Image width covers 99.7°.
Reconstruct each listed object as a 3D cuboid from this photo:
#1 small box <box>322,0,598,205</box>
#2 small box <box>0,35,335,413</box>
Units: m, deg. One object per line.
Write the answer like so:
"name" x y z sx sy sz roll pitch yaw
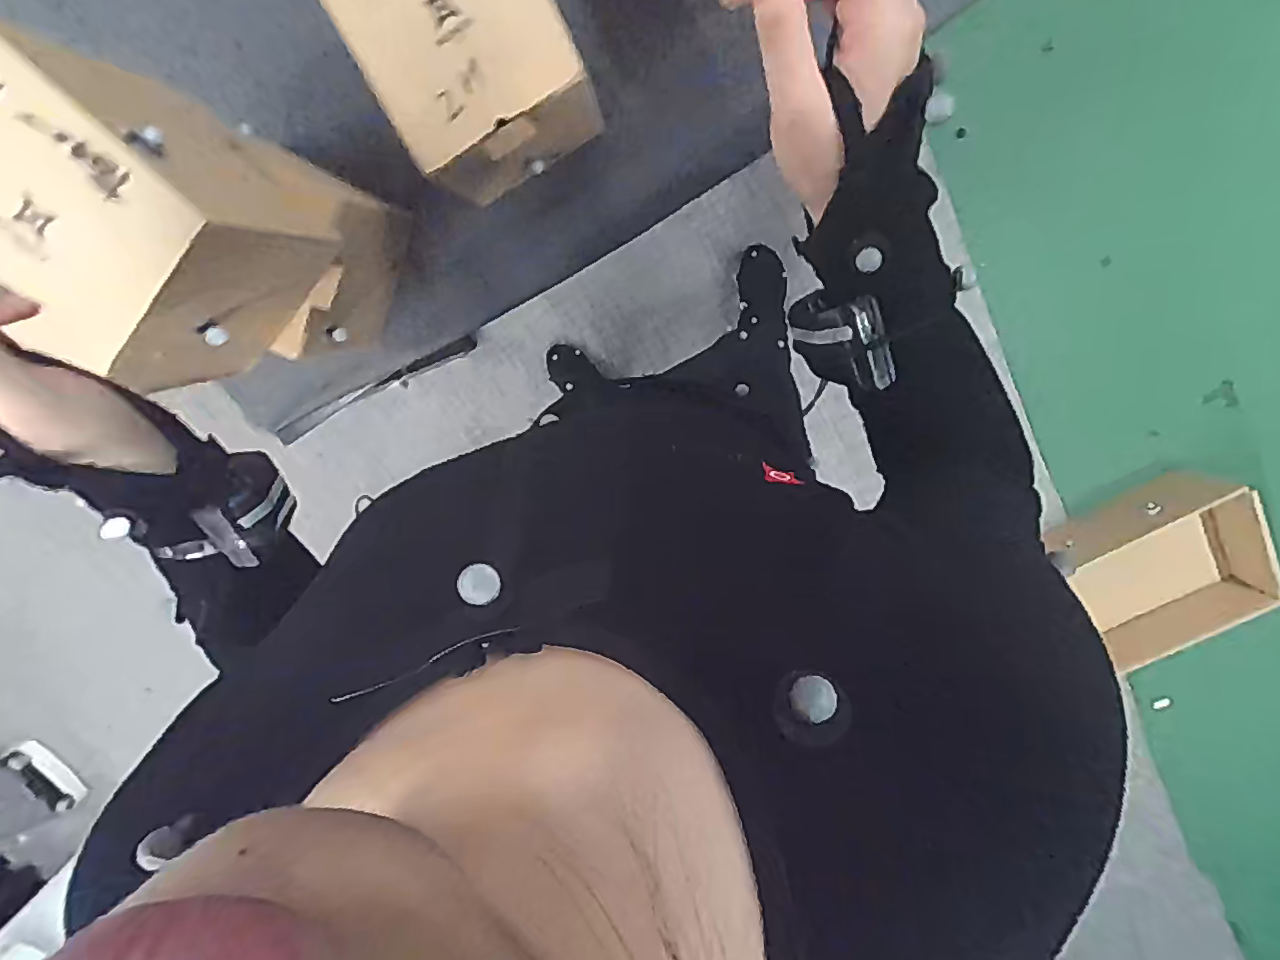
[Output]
"small box" -0.156 -0.398 0.521 0.168 0.176 0.179 -26 106 11
"small box" -0.389 -0.184 0.430 0.168 0.176 0.179 43 106 -12
